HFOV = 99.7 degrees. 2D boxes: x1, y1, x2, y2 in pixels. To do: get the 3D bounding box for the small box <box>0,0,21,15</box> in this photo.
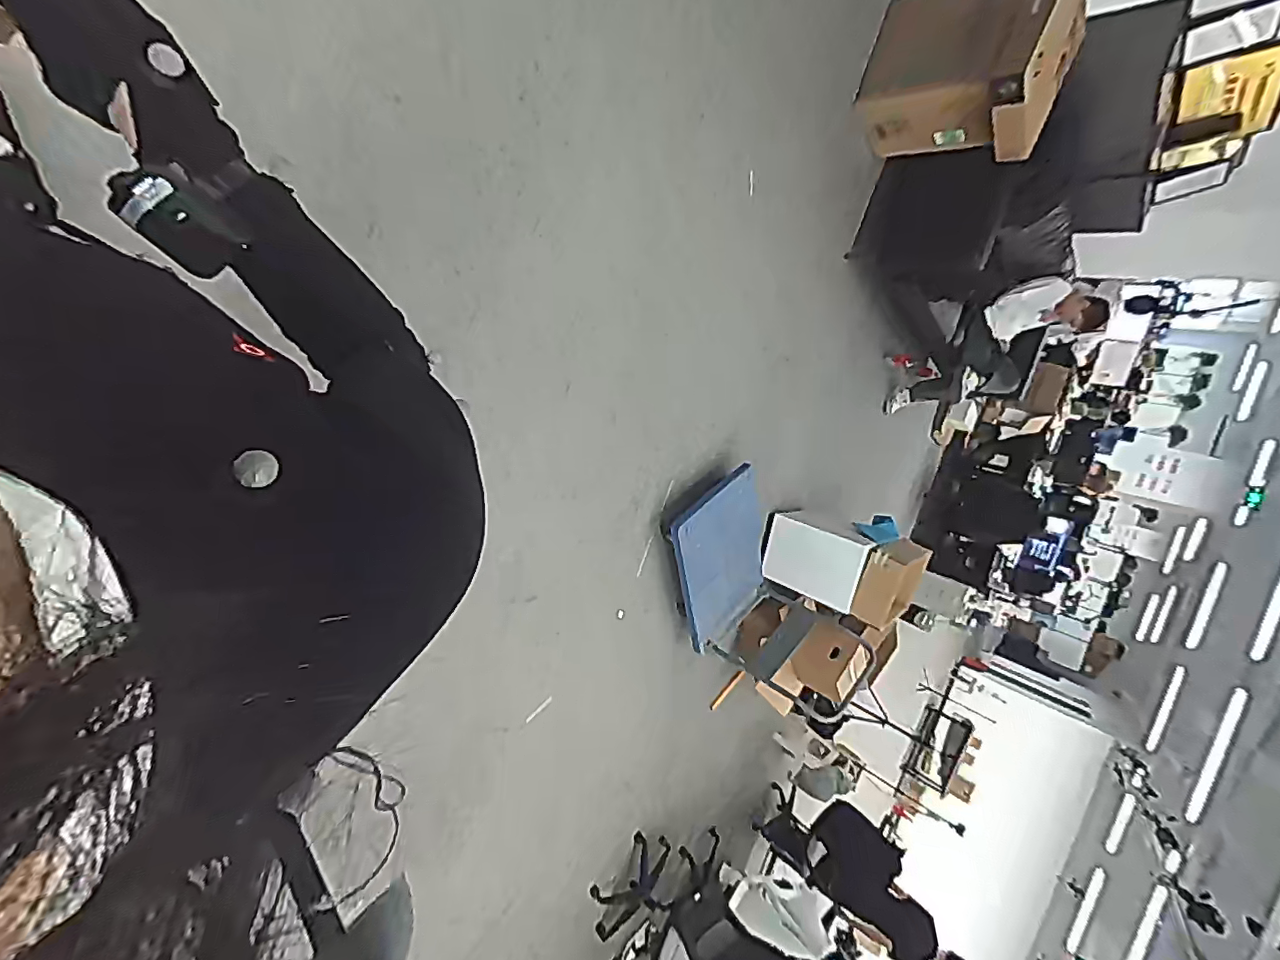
[{"bbox_3d":[-0.461,-0.360,0.265,0.179,0.176,0.168,-17,124,-45],"label":"small box"}]
